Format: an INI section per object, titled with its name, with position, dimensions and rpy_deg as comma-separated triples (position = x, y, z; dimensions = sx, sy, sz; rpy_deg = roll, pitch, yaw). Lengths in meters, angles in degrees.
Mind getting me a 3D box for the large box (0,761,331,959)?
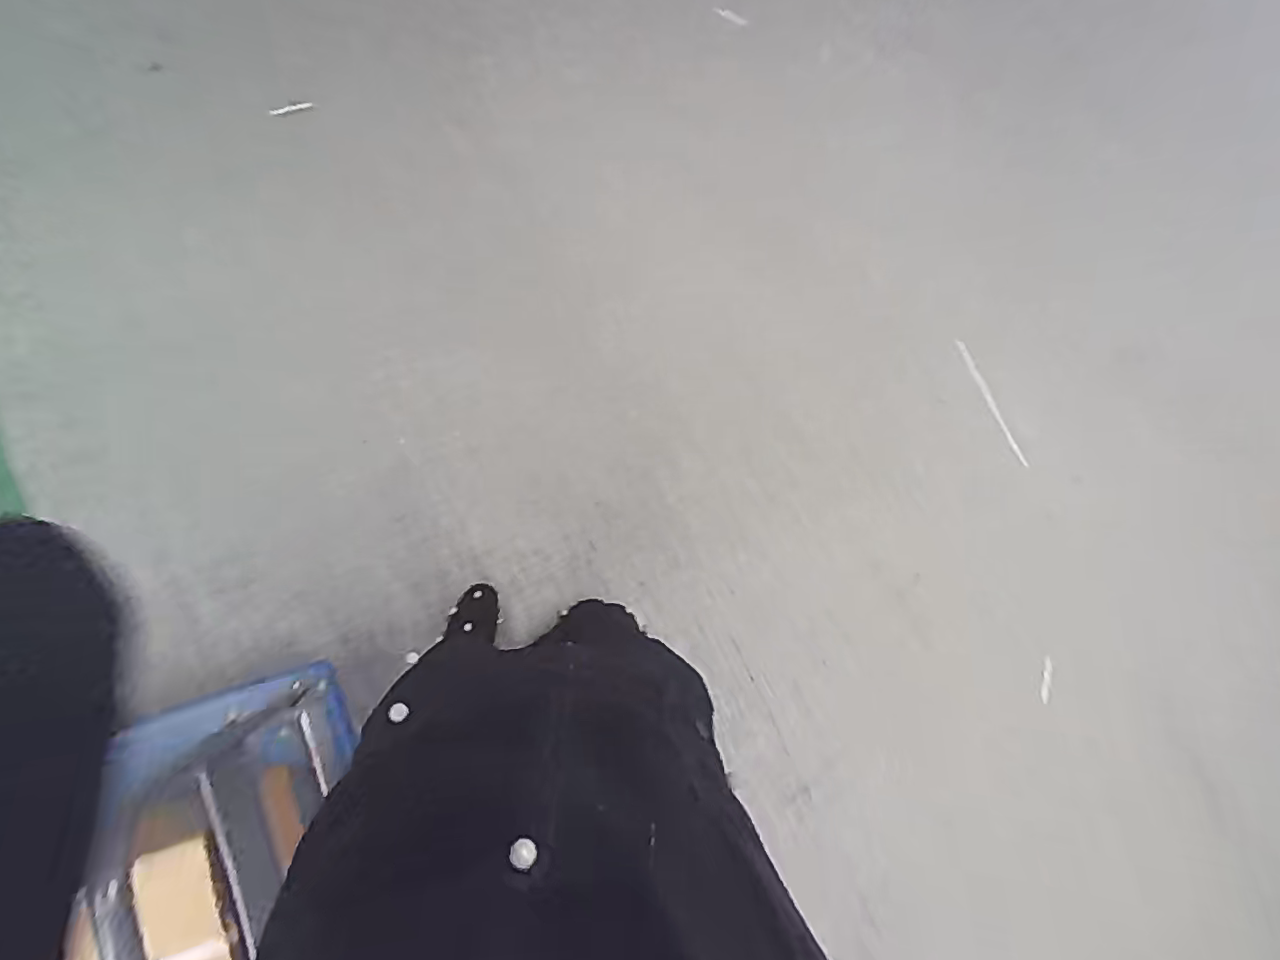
[large box]
position = -0.814, 0.747, 0.902
dimensions = 0.408, 0.320, 0.320
rpy_deg = -16, 86, -14
